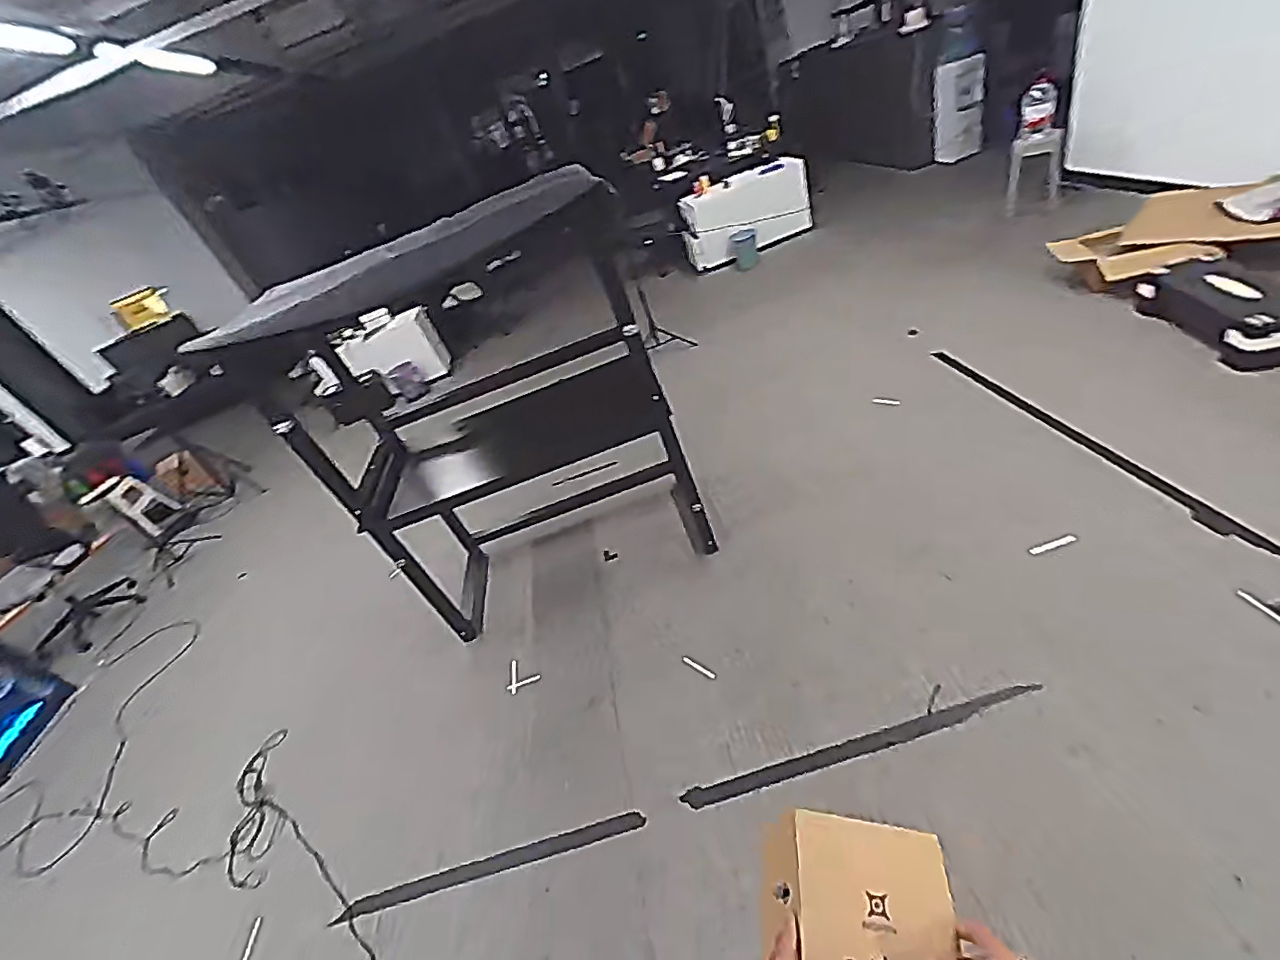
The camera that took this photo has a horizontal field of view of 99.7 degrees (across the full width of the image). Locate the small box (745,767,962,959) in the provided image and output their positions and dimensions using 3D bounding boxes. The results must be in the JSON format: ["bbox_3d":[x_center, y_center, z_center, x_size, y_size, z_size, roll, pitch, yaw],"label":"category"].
[{"bbox_3d":[0.213,0.446,0.591,0.168,0.176,0.179,9,45,2],"label":"small box"}]
